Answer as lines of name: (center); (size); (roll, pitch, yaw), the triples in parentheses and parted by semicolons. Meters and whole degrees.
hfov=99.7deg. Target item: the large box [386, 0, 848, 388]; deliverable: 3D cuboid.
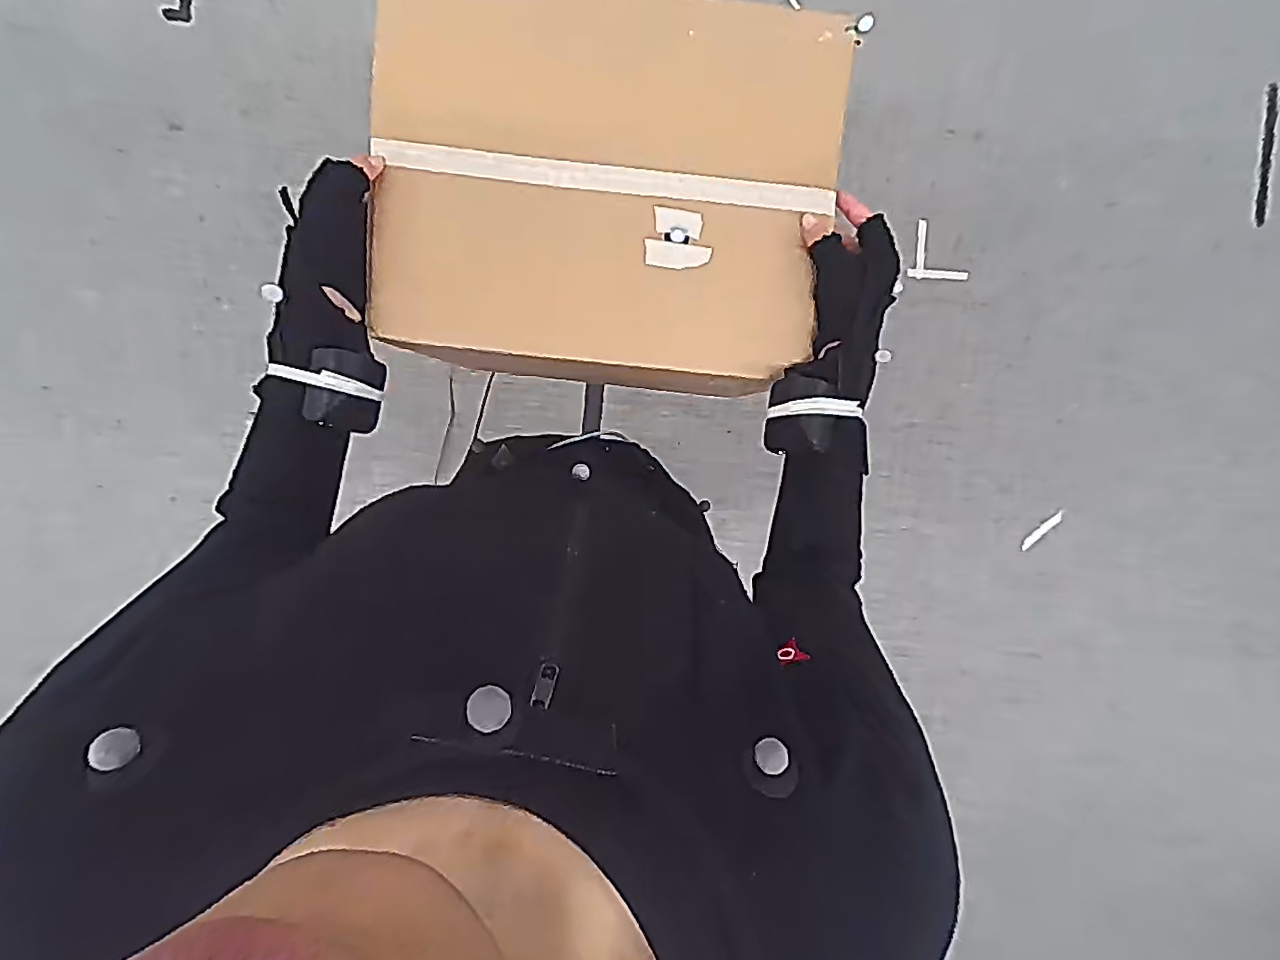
large box: (-0.031, -0.286, 0.636); (0.408, 0.320, 0.320); (6, 97, -3)
